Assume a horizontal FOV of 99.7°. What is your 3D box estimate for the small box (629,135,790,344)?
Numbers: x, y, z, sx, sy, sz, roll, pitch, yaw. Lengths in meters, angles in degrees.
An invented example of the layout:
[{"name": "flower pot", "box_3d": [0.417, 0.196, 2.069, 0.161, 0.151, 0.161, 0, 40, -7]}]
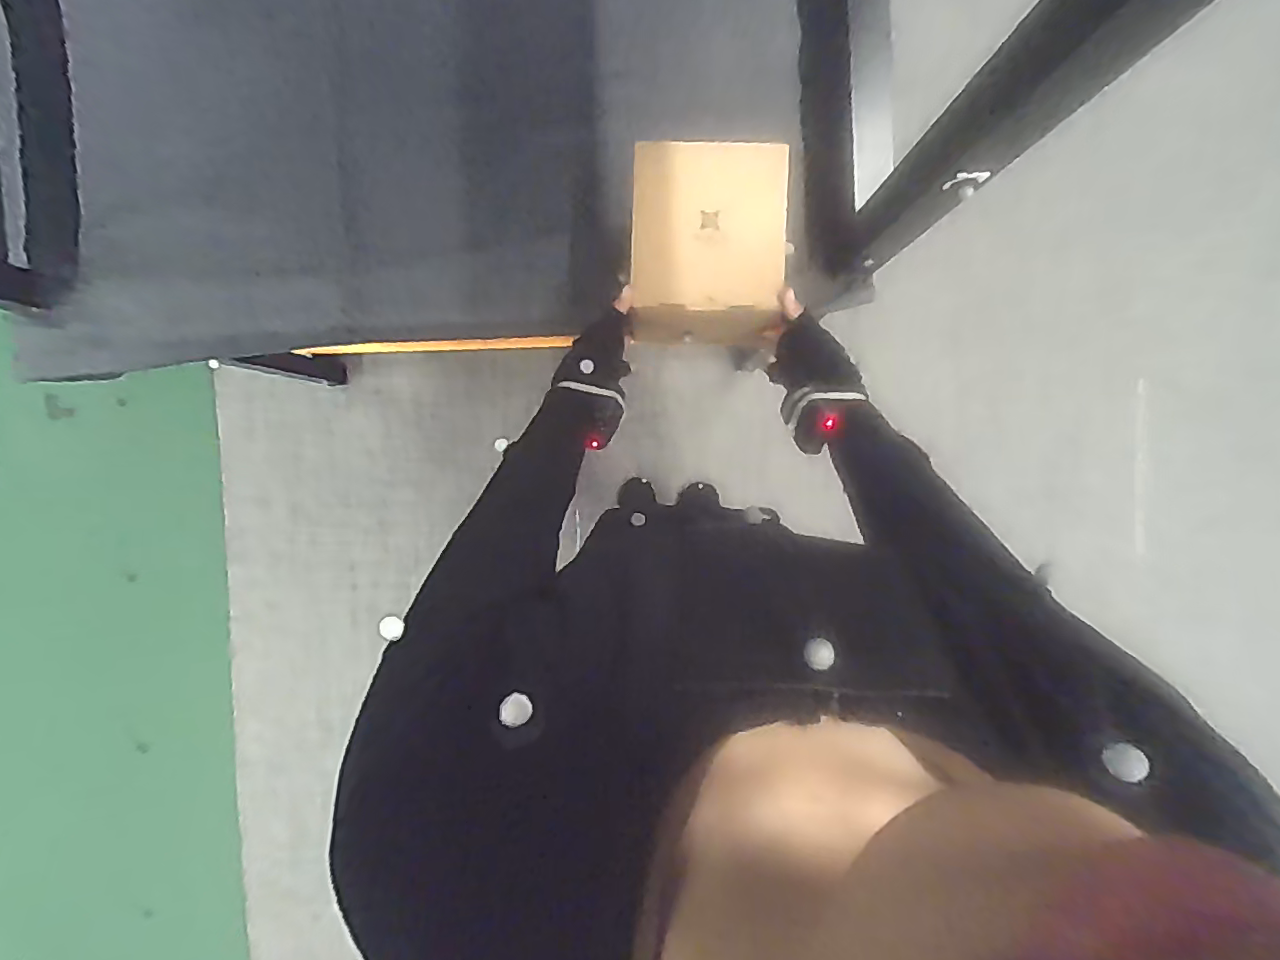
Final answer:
[{"name": "small box", "box_3d": [0.074, -0.272, 0.644, 0.168, 0.176, 0.179, 2, 91, 2]}]
